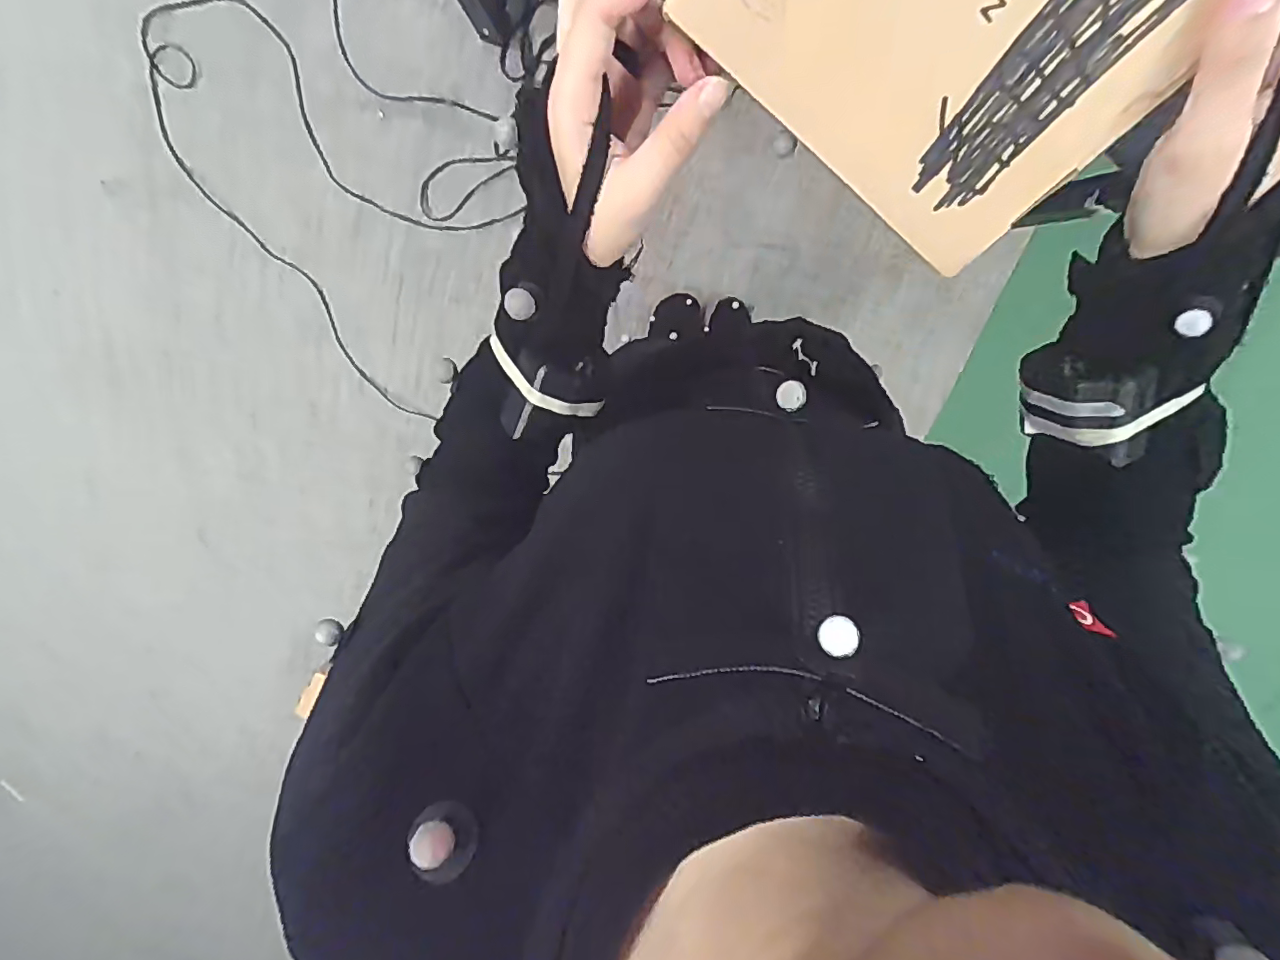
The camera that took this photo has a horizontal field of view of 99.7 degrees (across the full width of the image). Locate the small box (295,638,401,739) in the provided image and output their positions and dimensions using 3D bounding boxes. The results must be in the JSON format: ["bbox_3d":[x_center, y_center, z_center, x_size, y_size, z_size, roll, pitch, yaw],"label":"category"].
[{"bbox_3d":[-0.808,0.573,1.511,0.179,0.176,0.168,32,107,-13],"label":"small box"}]
